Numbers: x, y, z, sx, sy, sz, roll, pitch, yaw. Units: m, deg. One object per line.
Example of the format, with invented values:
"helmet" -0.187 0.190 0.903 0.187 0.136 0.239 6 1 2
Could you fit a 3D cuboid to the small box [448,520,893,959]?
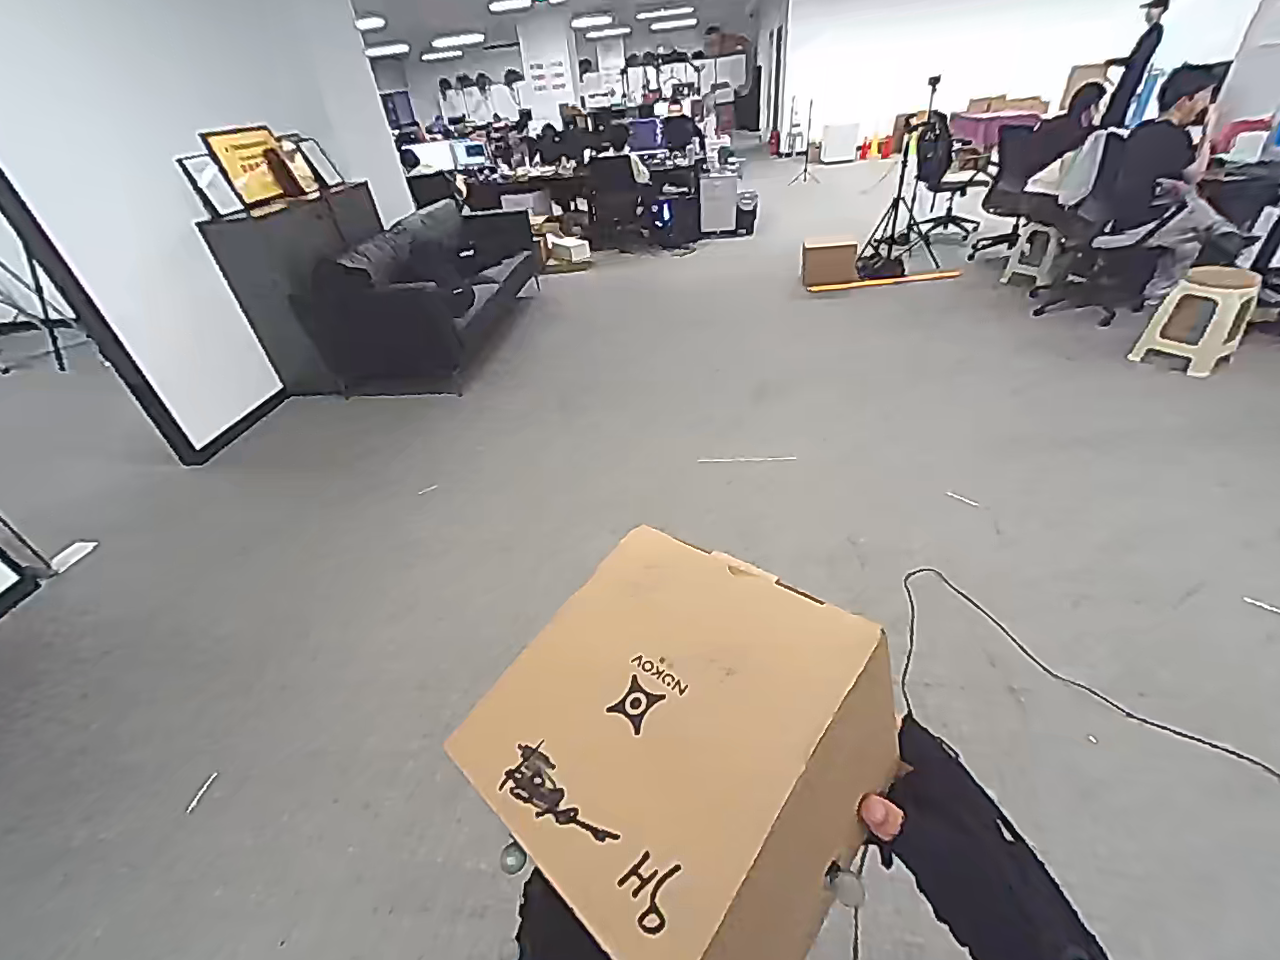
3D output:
"small box" 0.032 0.160 0.320 0.168 0.176 0.179 19 55 42
